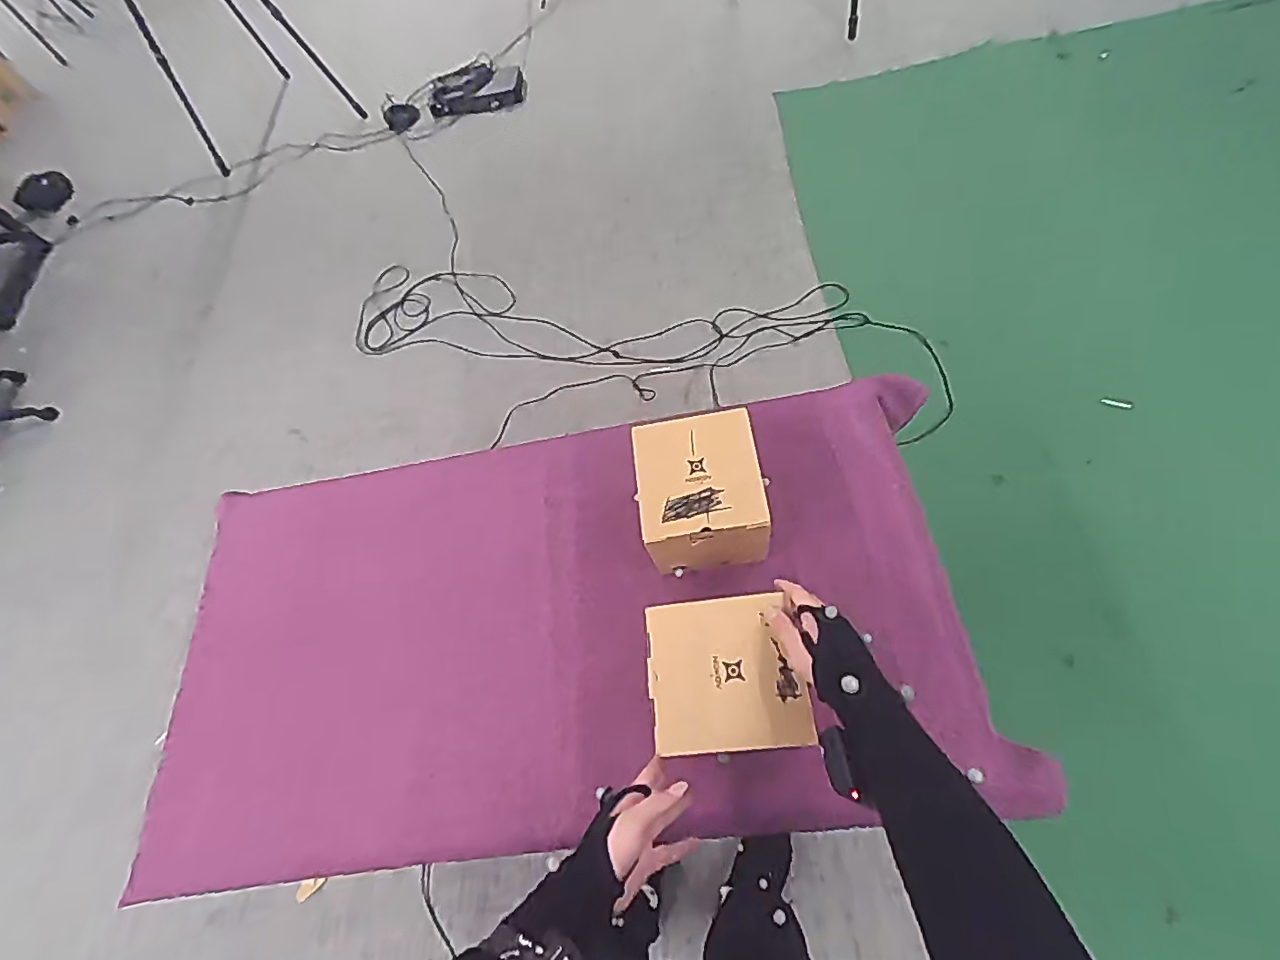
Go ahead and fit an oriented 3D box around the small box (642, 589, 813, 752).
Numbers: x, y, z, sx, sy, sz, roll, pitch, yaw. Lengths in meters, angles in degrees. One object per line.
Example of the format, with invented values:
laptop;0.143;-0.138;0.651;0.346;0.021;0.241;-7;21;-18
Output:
small box;0.106;0.243;0.671;0.179;0.176;0.168;-8;63;8

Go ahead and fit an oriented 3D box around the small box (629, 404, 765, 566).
small box;0.085;0.018;0.781;0.168;0.176;0.179;-9;64;7
